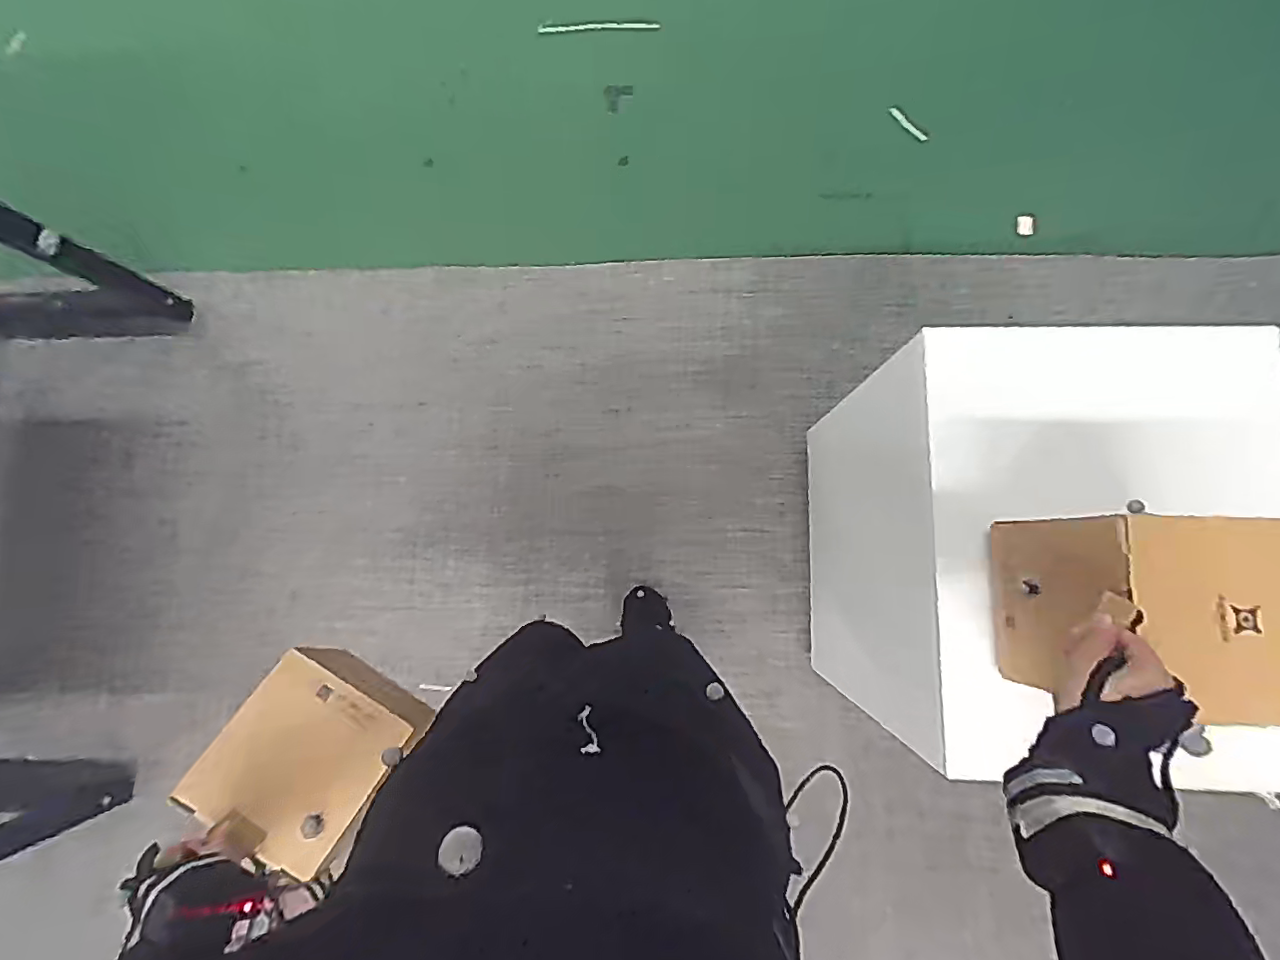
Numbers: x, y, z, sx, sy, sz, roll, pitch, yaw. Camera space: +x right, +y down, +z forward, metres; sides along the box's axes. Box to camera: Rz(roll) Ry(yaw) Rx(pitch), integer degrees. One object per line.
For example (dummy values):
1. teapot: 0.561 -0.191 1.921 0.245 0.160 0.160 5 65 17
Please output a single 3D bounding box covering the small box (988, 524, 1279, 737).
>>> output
1. small box: 0.468 0.126 0.508 0.179 0.176 0.168 0 83 1
